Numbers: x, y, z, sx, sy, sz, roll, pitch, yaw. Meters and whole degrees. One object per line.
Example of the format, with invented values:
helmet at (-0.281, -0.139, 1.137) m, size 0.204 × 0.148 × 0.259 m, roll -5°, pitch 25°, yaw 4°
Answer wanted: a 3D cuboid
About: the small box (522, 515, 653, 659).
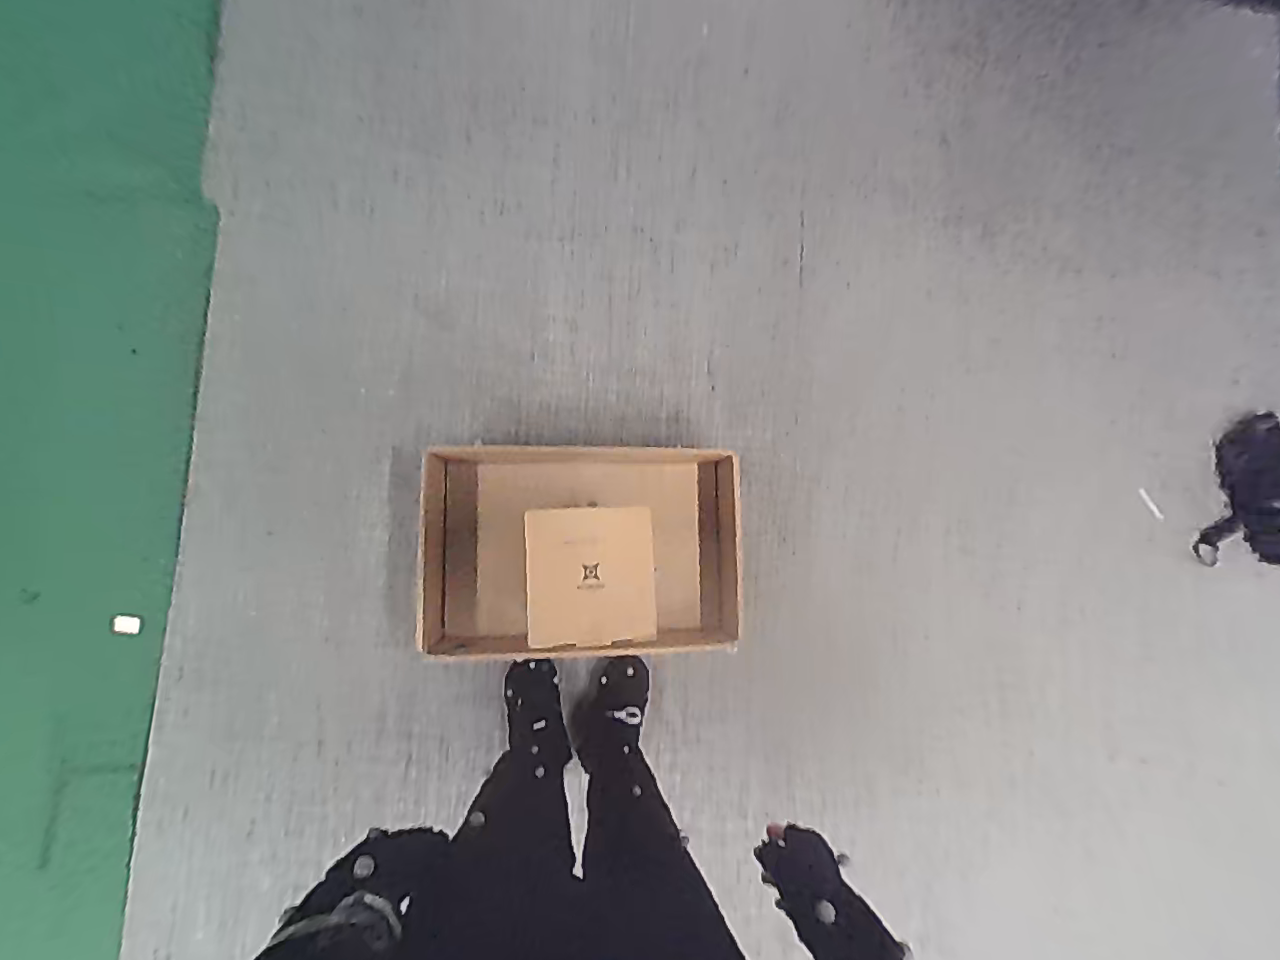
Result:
small box at (-0.077, 0.145, 0.773) m, size 0.168 × 0.176 × 0.179 m, roll -2°, pitch 82°, yaw -9°
